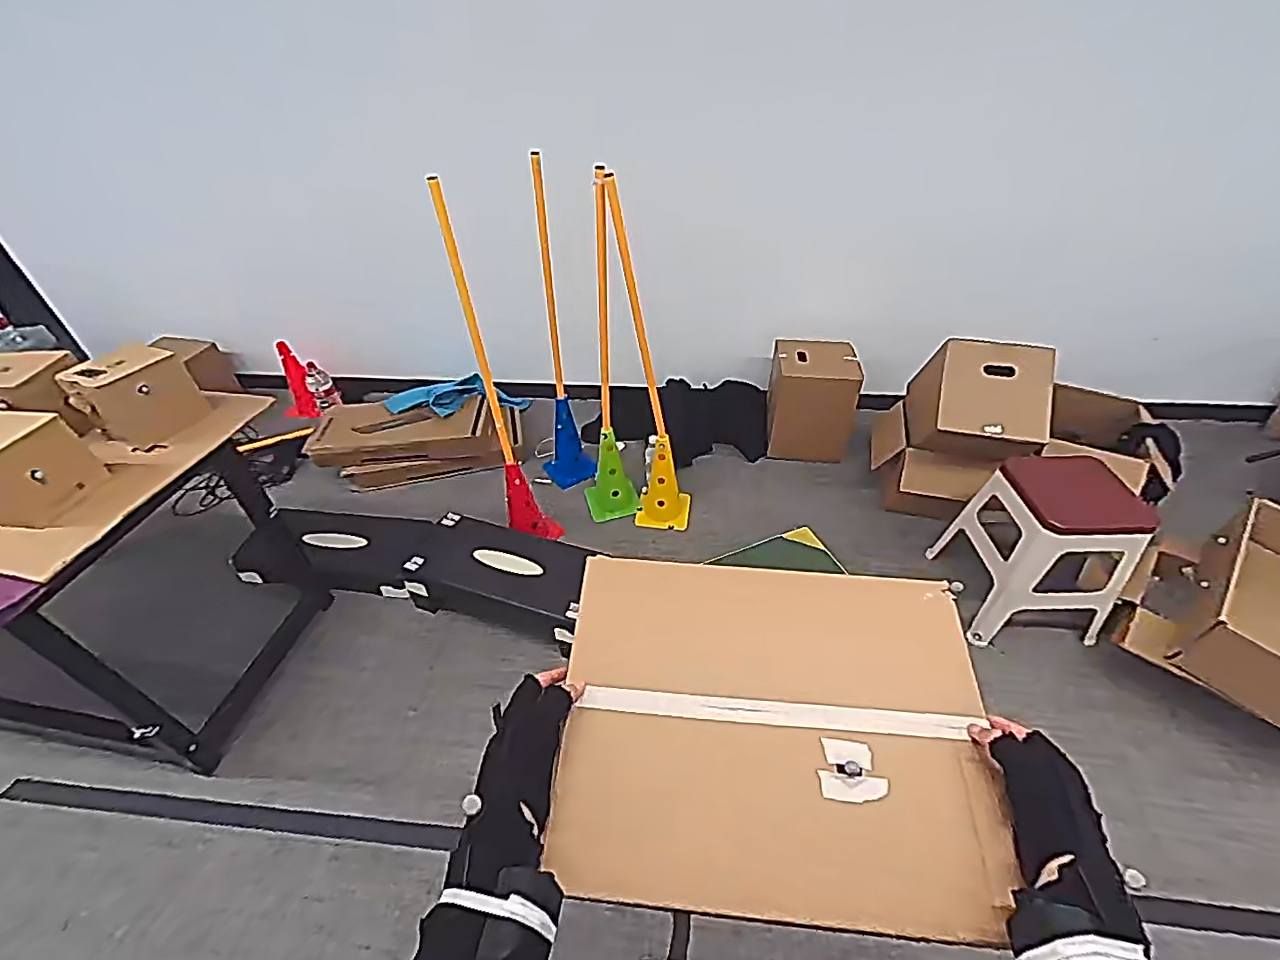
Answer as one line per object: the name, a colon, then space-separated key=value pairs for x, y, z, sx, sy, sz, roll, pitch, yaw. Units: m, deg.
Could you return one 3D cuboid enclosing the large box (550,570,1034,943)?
large box: x=0.133 y=0.327 z=0.649 sx=0.408 sy=0.320 sz=0.320 roll=4 pitch=53 yaw=4
